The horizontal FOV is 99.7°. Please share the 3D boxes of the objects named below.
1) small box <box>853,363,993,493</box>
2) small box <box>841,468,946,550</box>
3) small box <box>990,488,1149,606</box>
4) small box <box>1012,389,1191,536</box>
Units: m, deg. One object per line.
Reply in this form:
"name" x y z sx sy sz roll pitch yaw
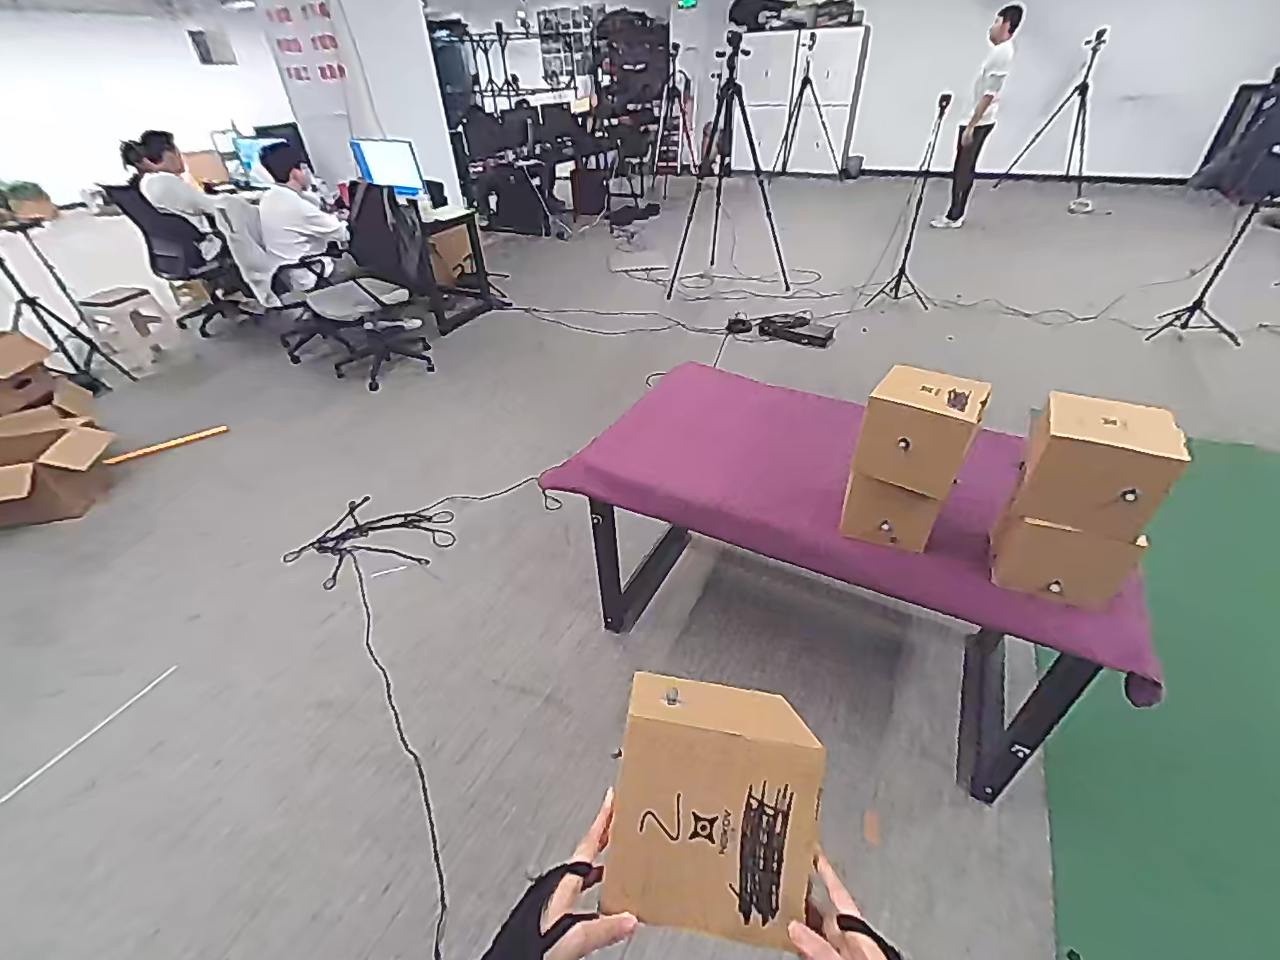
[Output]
"small box" 0.527 -0.097 1.021 0.179 0.176 0.168 22 43 30
"small box" 0.531 0.018 1.142 0.168 0.176 0.179 12 39 19
"small box" 0.780 0.108 1.004 0.179 0.176 0.168 14 40 21
"small box" 0.766 -0.029 0.916 0.179 0.176 0.168 17 42 26
